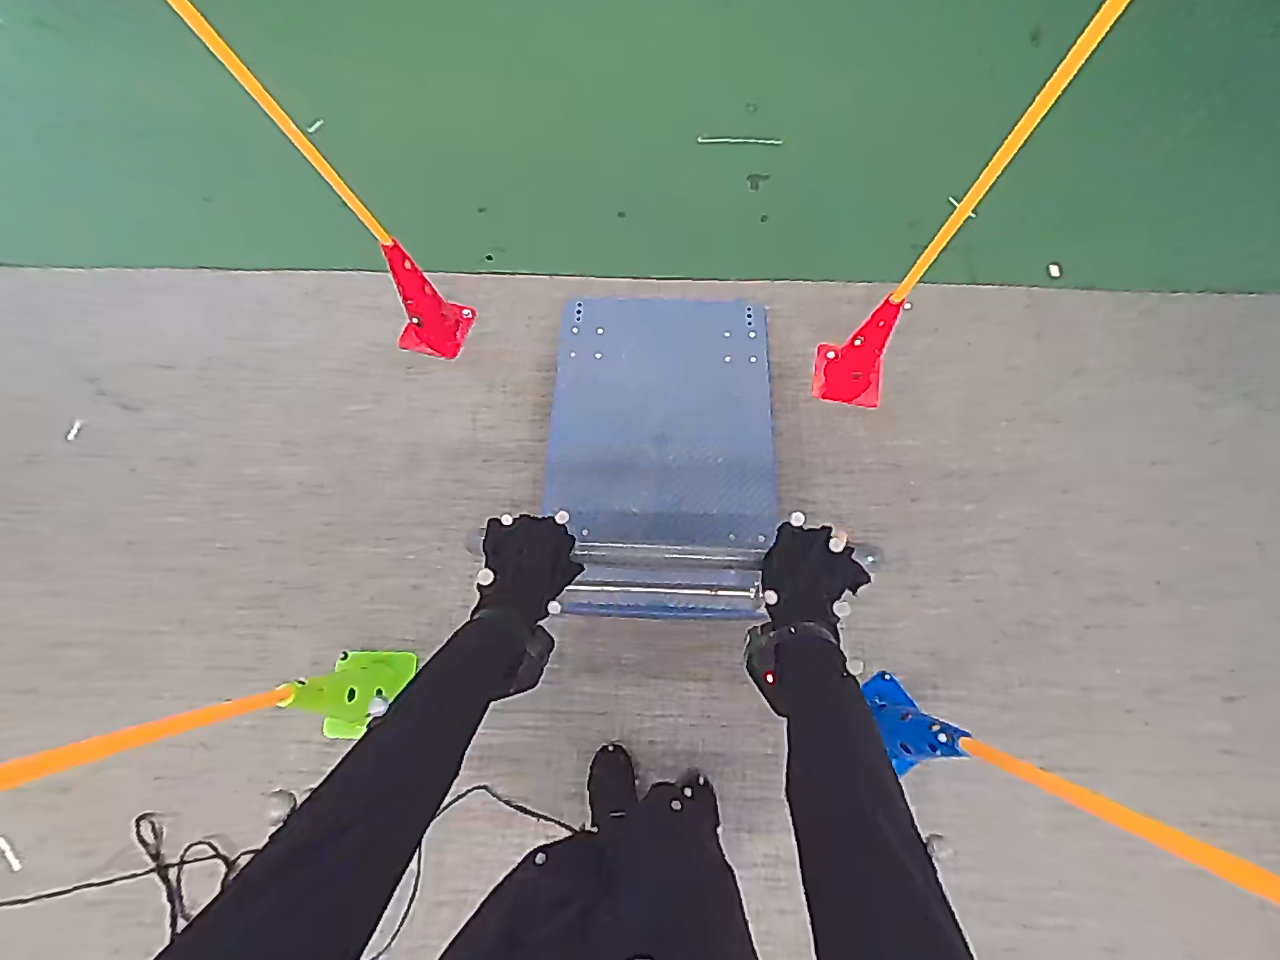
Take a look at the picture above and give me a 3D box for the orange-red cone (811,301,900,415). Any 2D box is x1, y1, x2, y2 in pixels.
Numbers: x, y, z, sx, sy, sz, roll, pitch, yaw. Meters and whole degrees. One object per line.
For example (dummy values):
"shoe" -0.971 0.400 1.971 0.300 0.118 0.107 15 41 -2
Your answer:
"orange-red cone" 0.627 -0.359 1.493 0.198 0.360 0.199 12 69 6
